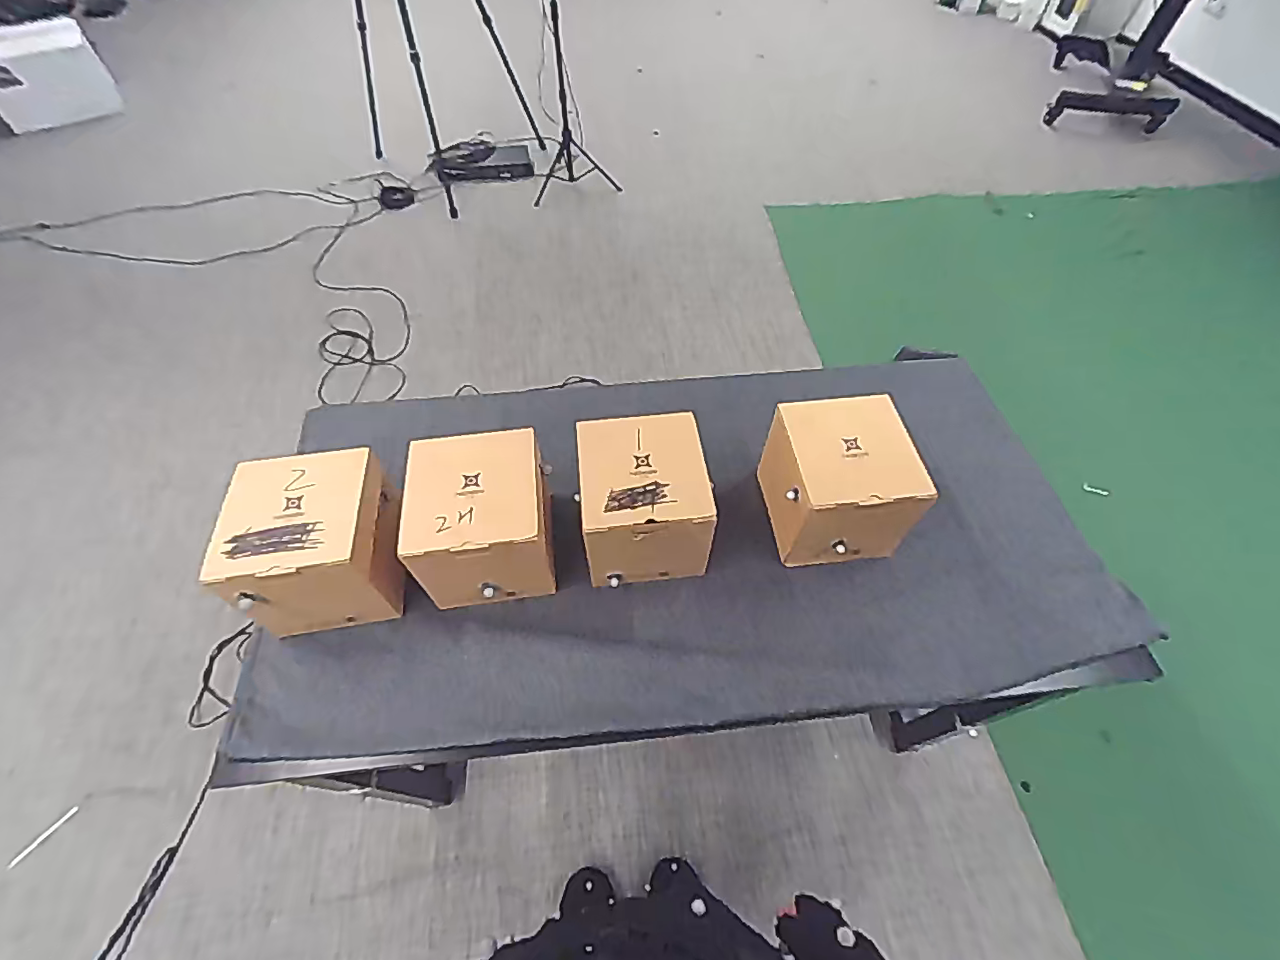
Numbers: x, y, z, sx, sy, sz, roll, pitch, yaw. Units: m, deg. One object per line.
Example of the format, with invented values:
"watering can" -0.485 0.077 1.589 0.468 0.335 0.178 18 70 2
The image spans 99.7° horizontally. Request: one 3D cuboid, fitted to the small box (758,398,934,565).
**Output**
"small box" 0.281 0.004 0.788 0.168 0.176 0.179 -6 56 -4
